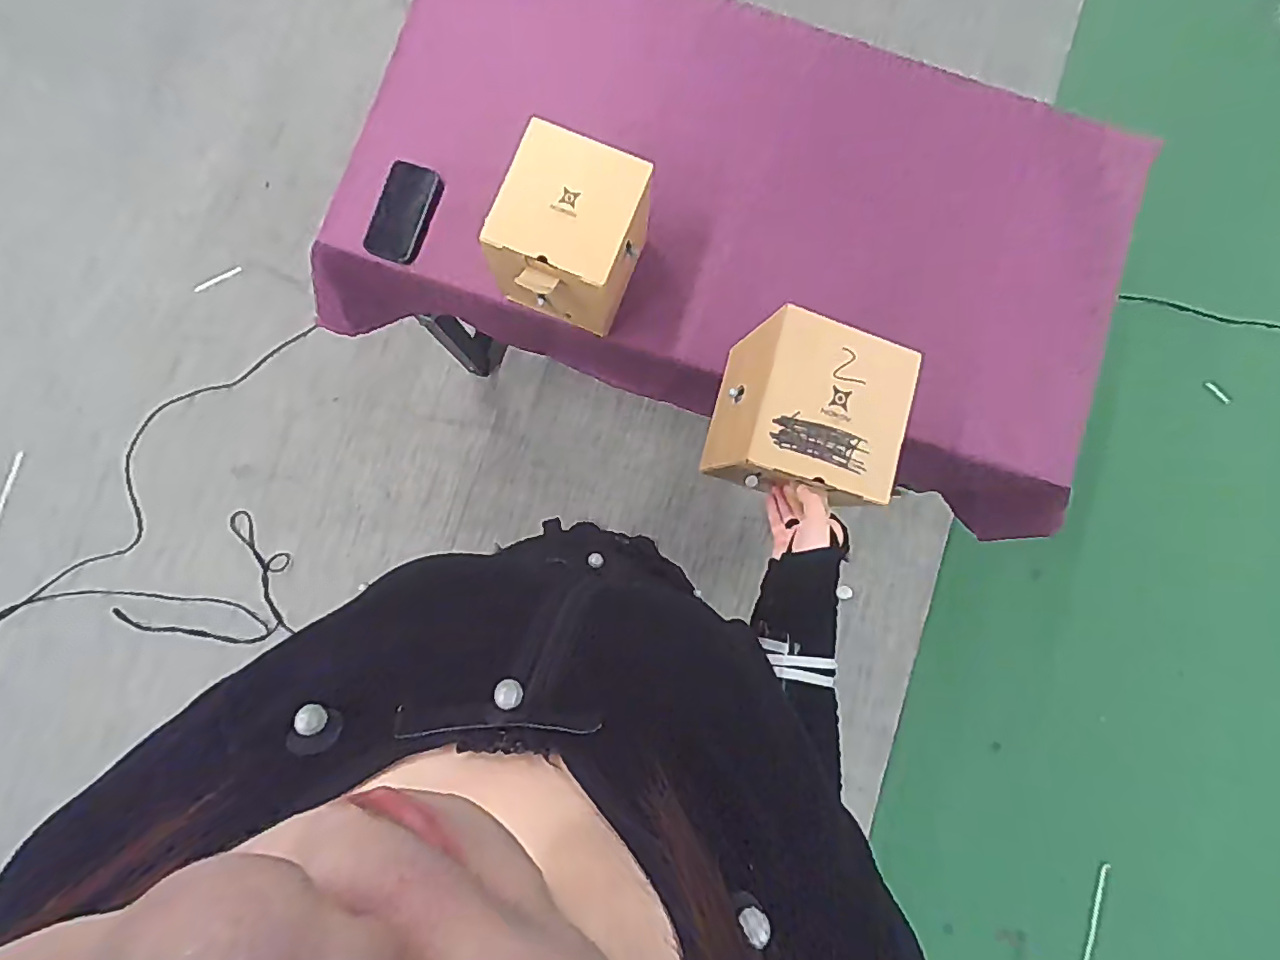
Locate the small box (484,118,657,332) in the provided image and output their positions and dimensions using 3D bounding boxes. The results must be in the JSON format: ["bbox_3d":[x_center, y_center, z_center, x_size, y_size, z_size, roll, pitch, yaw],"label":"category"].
[{"bbox_3d":[-0.091,-0.335,0.745,0.168,0.176,0.179,22,84,-1],"label":"small box"}]
